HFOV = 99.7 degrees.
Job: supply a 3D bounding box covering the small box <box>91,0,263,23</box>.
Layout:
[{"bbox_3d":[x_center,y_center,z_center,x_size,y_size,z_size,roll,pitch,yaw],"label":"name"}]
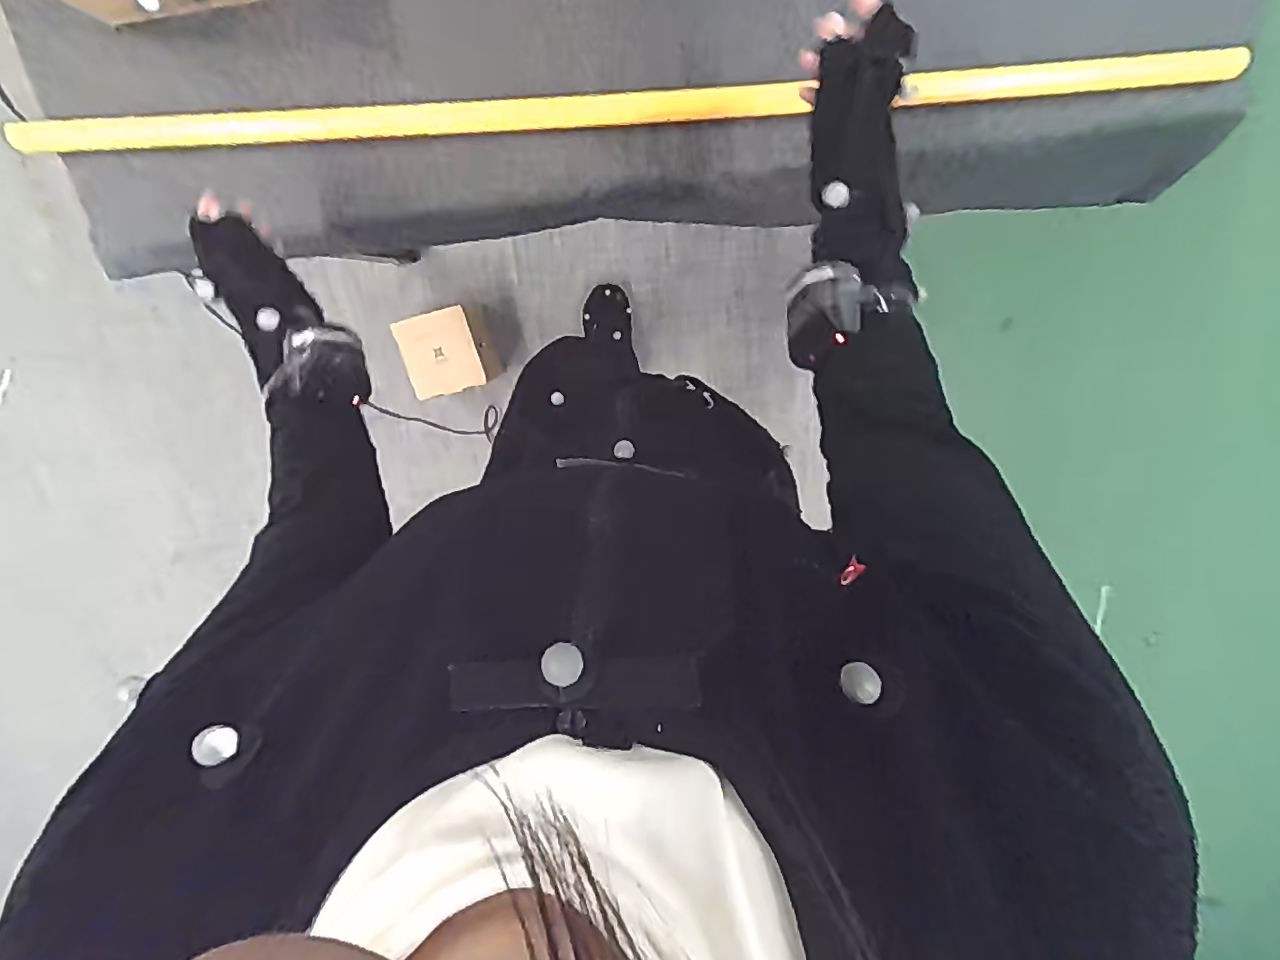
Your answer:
[{"bbox_3d":[-0.439,-0.506,0.418,0.168,0.176,0.179,-8,110,2],"label":"small box"}]
